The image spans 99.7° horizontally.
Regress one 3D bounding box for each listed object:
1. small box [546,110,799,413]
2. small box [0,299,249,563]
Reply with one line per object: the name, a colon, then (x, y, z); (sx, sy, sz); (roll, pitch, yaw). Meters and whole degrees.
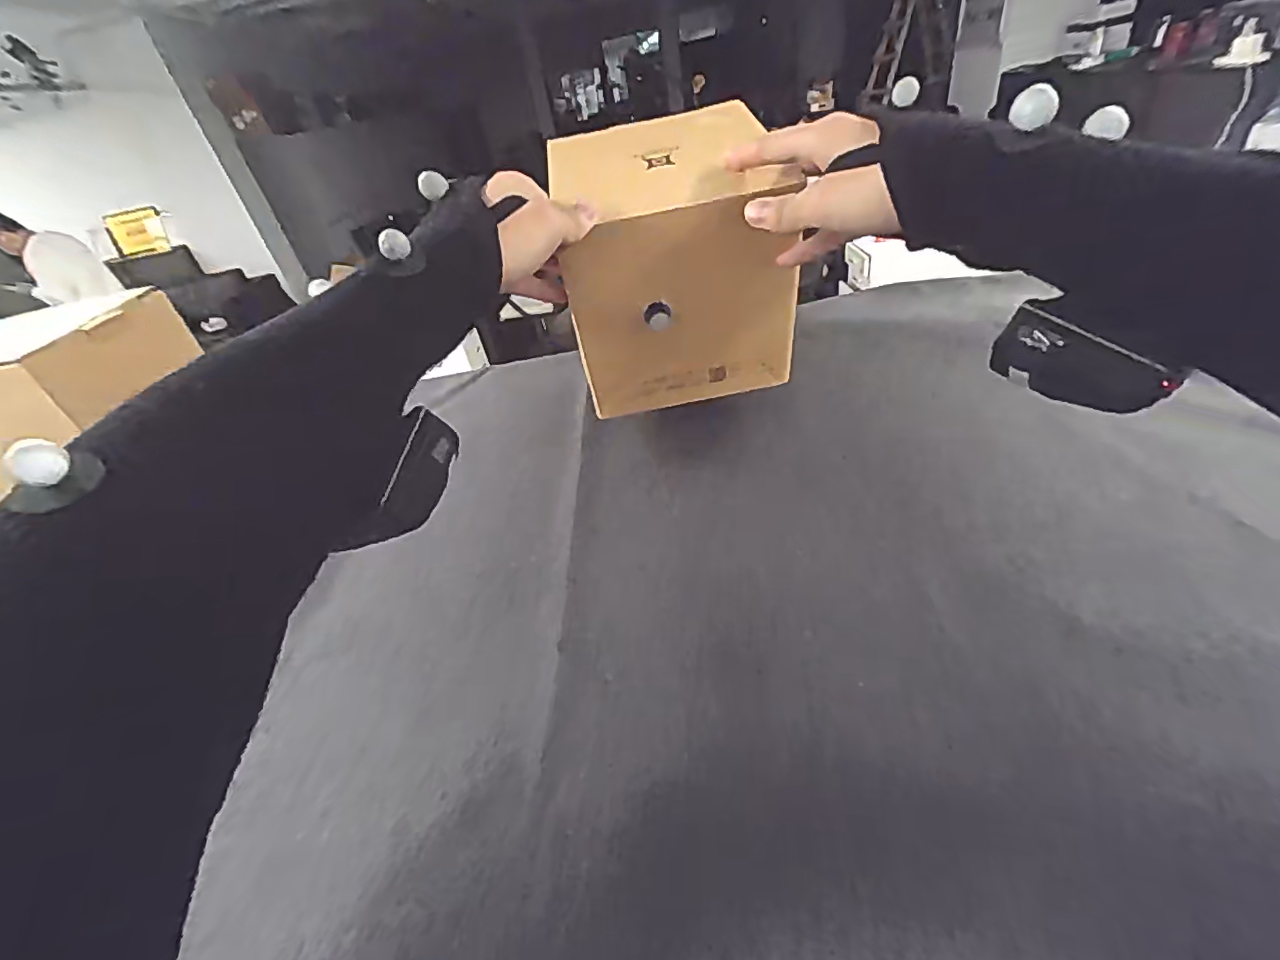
small box: (0.024, -0.173, 0.452); (0.168, 0.176, 0.179); (-11, 48, 1)
small box: (-0.520, -0.046, 0.500); (0.179, 0.176, 0.168); (-10, 36, 2)
